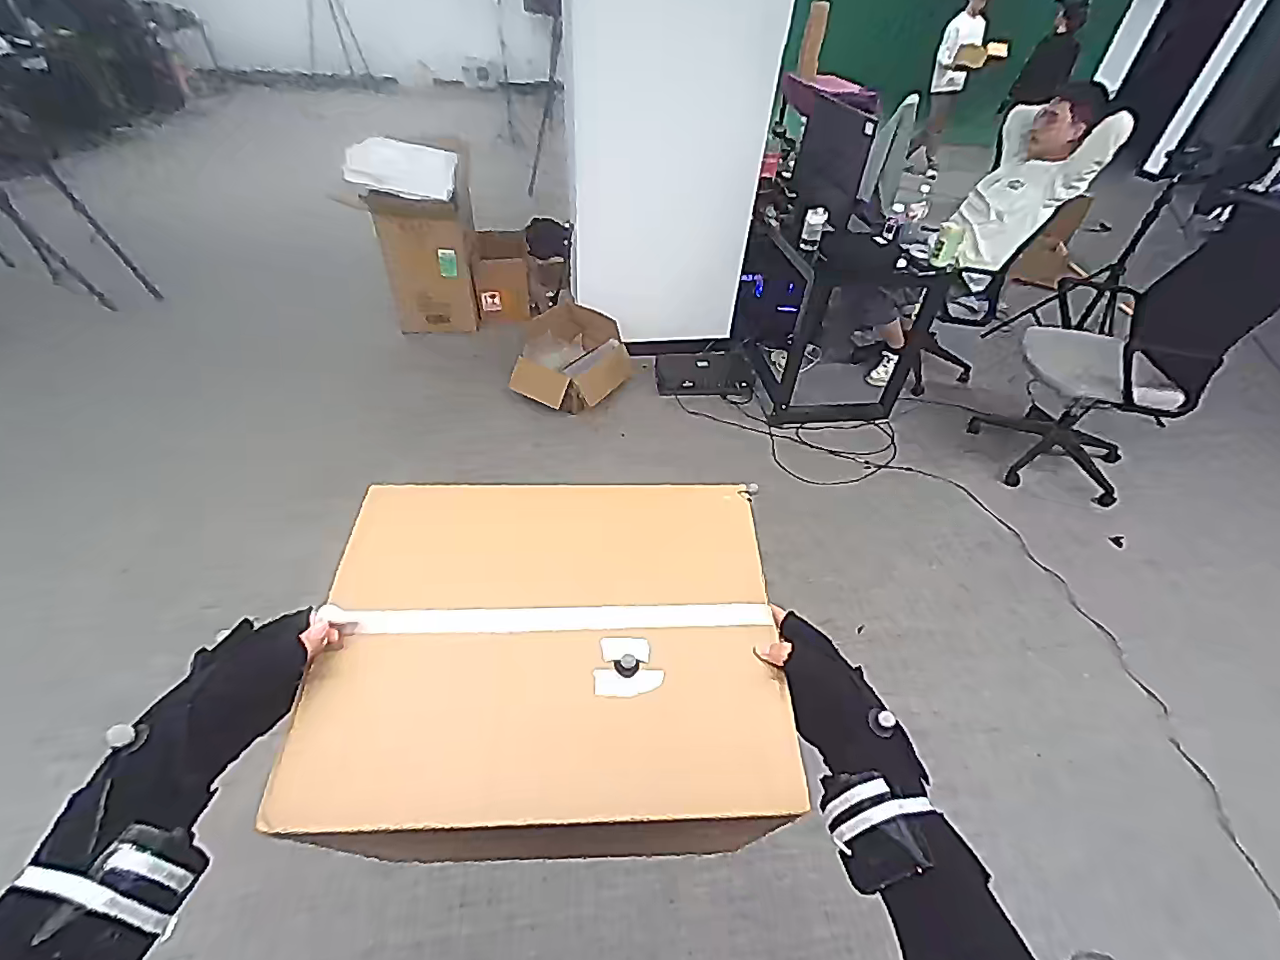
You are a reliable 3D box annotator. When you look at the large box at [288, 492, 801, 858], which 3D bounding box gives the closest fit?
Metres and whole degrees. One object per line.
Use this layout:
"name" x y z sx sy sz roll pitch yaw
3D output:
"large box" -0.083 0.227 0.624 0.408 0.320 0.320 1 51 -3
